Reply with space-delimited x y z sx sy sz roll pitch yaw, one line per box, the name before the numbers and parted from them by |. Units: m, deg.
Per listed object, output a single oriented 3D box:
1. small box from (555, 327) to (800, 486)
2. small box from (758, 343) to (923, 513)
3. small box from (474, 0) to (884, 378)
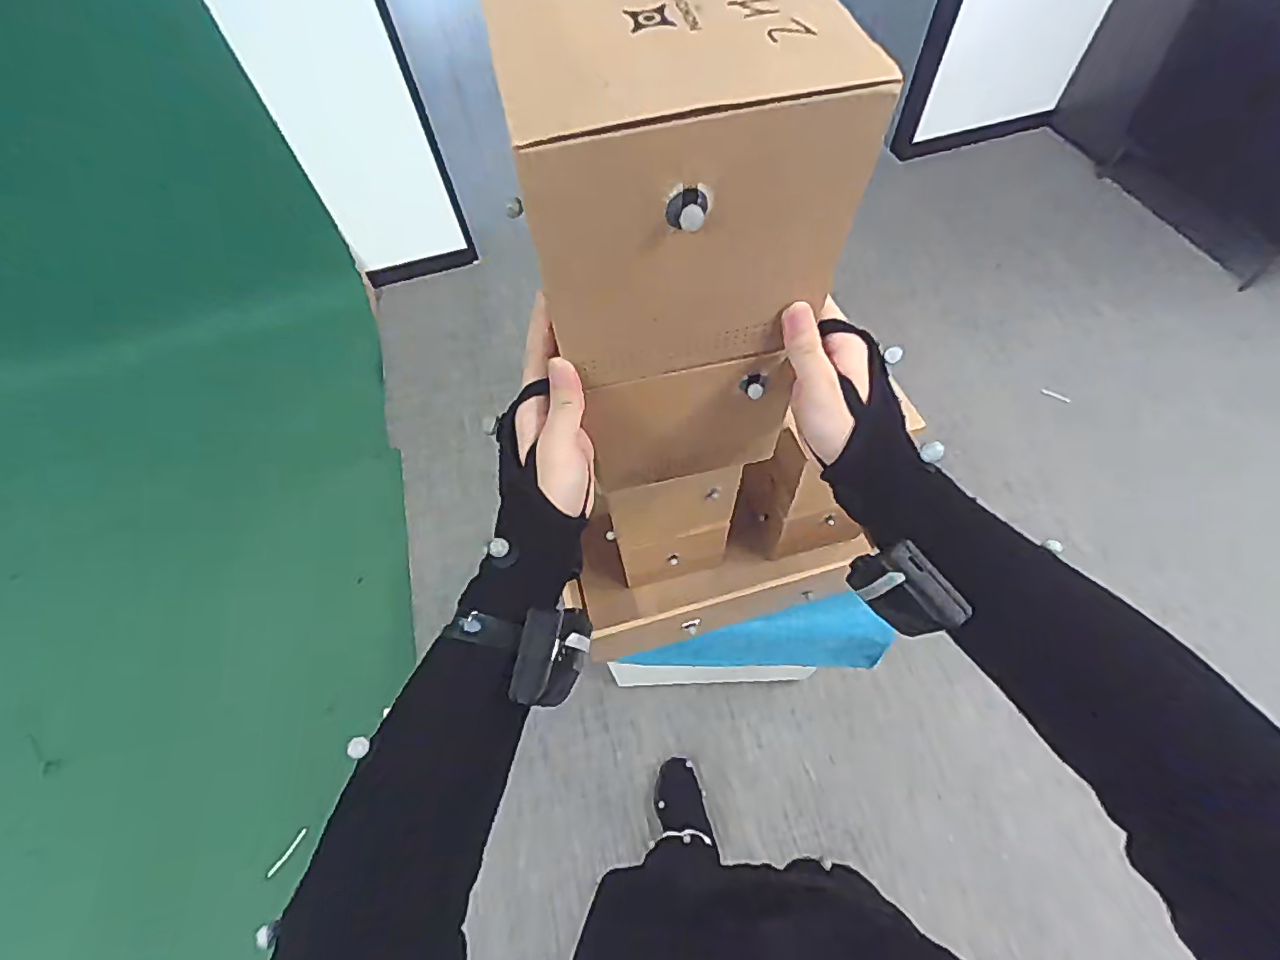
small box | 0.018 -0.111 0.487 0.179 0.176 0.168 -12 62 -5
small box | 0.281 -0.071 0.819 0.179 0.176 0.168 -17 59 -4
small box | 0.012 -0.186 0.340 0.179 0.176 0.168 -12 63 -4
